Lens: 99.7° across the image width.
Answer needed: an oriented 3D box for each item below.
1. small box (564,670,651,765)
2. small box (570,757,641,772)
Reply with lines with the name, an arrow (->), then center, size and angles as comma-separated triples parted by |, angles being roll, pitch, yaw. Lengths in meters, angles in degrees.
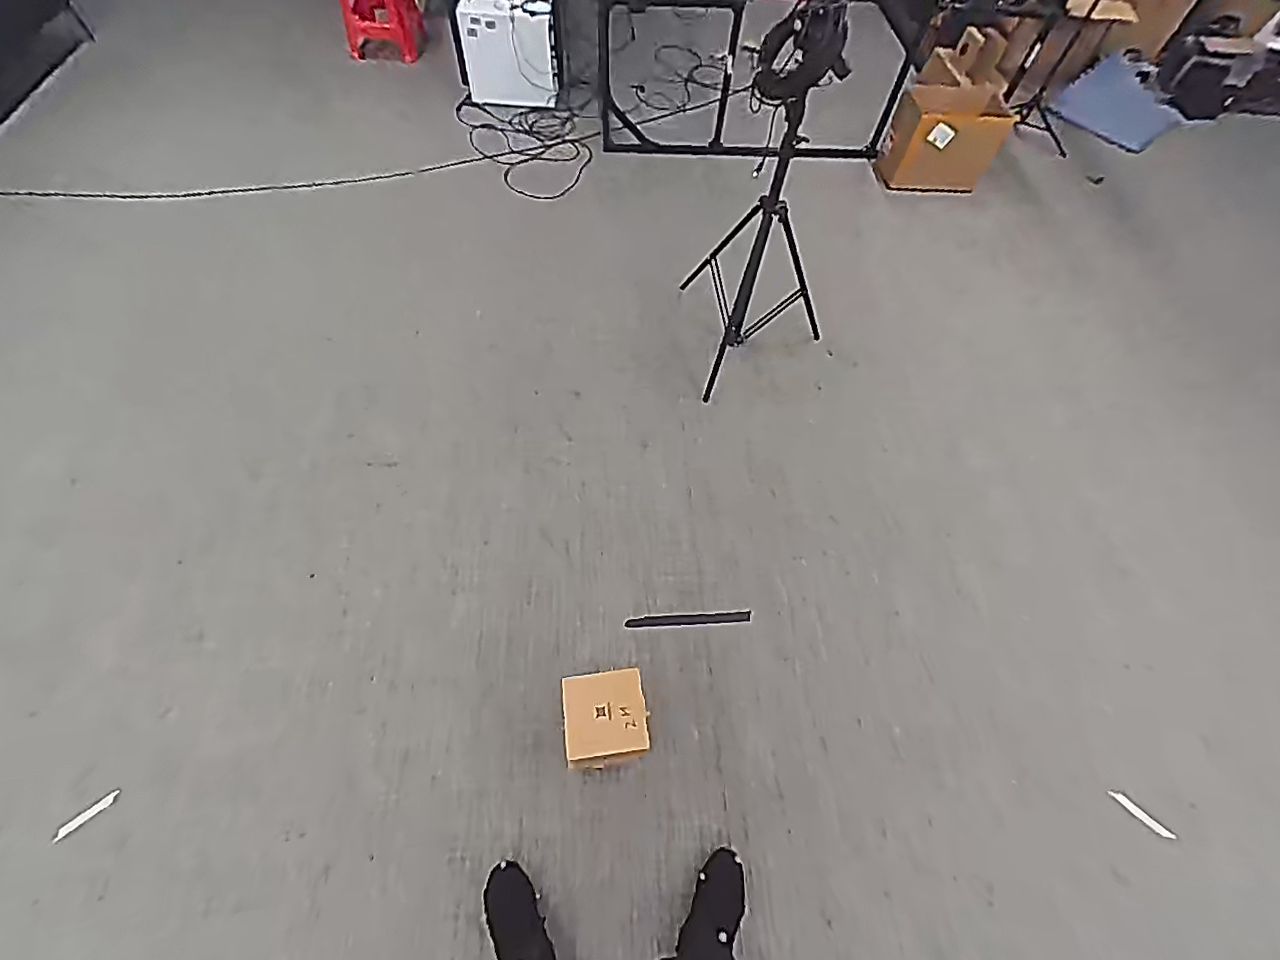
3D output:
small box -> -0.072, 0.538, 1.216 | 0.179, 0.176, 0.168 | -5, 60, -5
small box -> -0.091, 0.624, 1.355 | 0.168, 0.176, 0.179 | -5, 60, -5
